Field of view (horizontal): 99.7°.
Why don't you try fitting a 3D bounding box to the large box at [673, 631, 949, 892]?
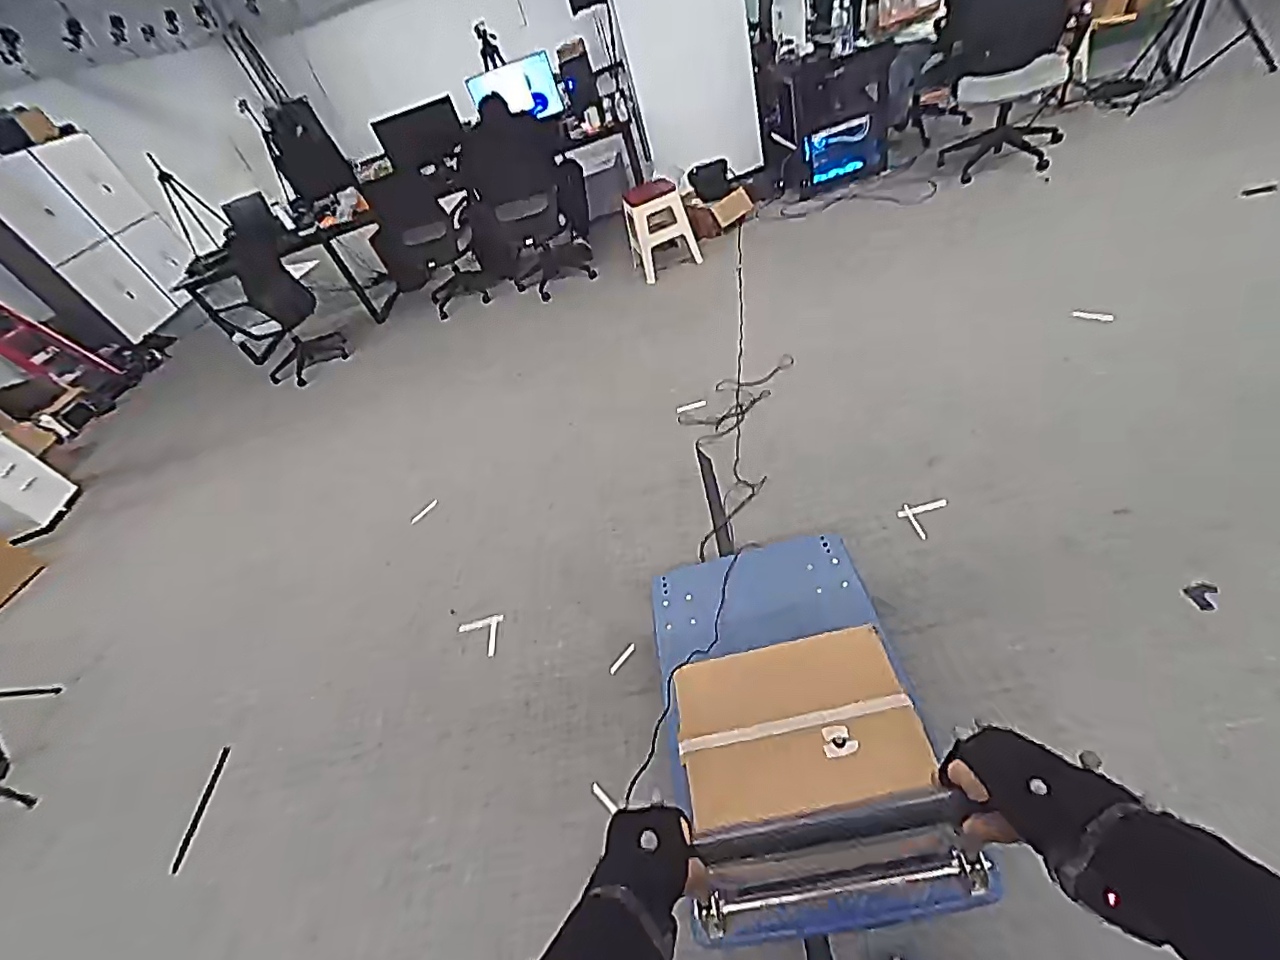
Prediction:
[{"bbox_3d":[0.308,0.549,1.049,0.408,0.320,0.320,-15,43,7],"label":"large box"}]
